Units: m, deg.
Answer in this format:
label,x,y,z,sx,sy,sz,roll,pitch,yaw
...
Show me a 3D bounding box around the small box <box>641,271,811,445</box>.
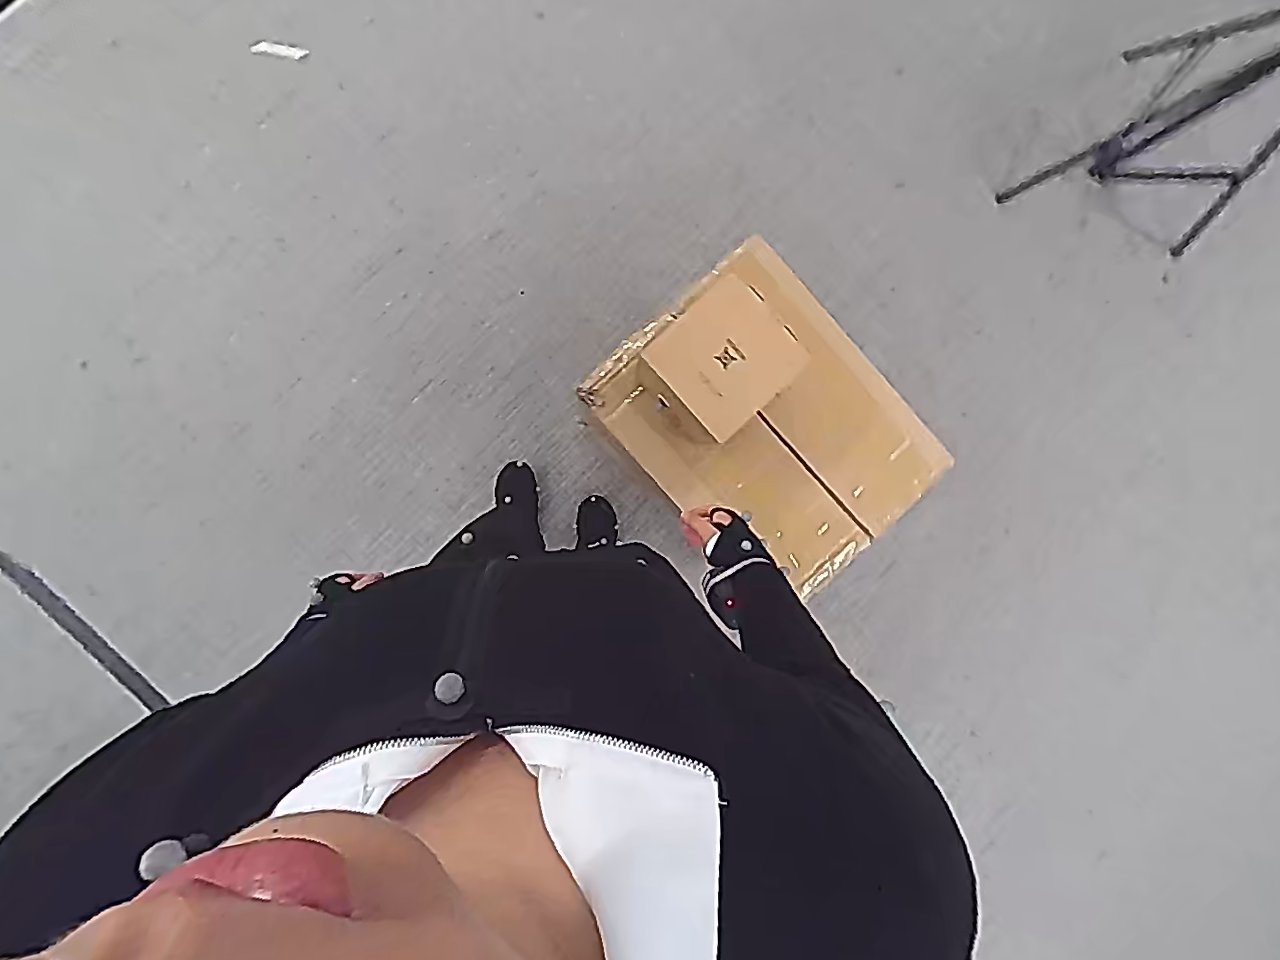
label,x,y,z,sx,sy,sz,roll,pitch,yaw
small box,0.114,-0.169,0.808,0.179,0.176,0.168,-43,93,0
